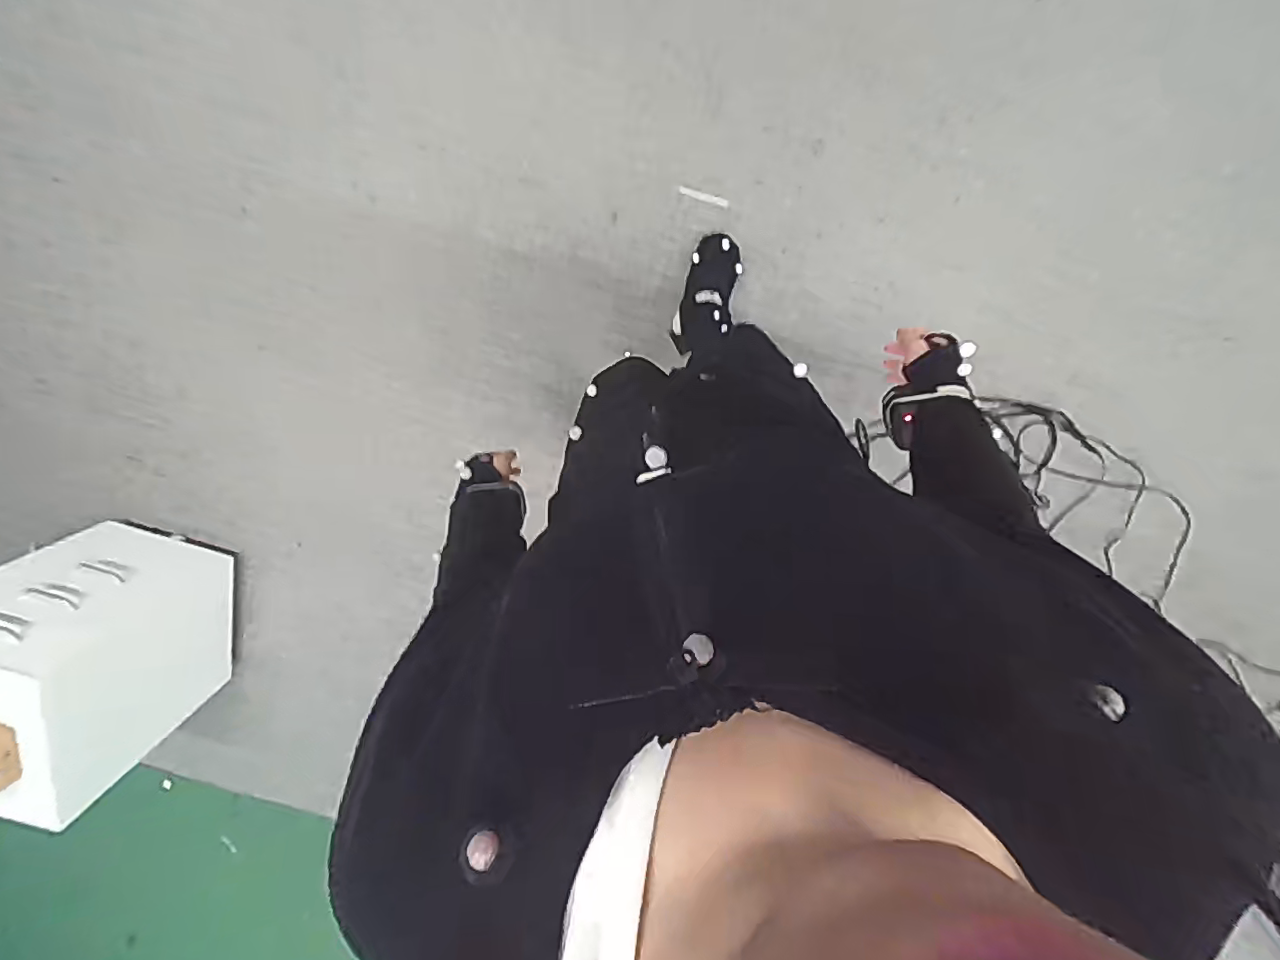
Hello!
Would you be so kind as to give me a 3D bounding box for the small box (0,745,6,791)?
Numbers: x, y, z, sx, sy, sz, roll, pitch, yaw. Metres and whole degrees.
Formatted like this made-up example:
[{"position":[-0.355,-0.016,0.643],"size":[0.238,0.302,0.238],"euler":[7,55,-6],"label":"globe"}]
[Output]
[{"position":[-1.527,0.648,1.143],"size":[0.179,0.176,0.168],"euler":[17,110,-1],"label":"small box"}]
